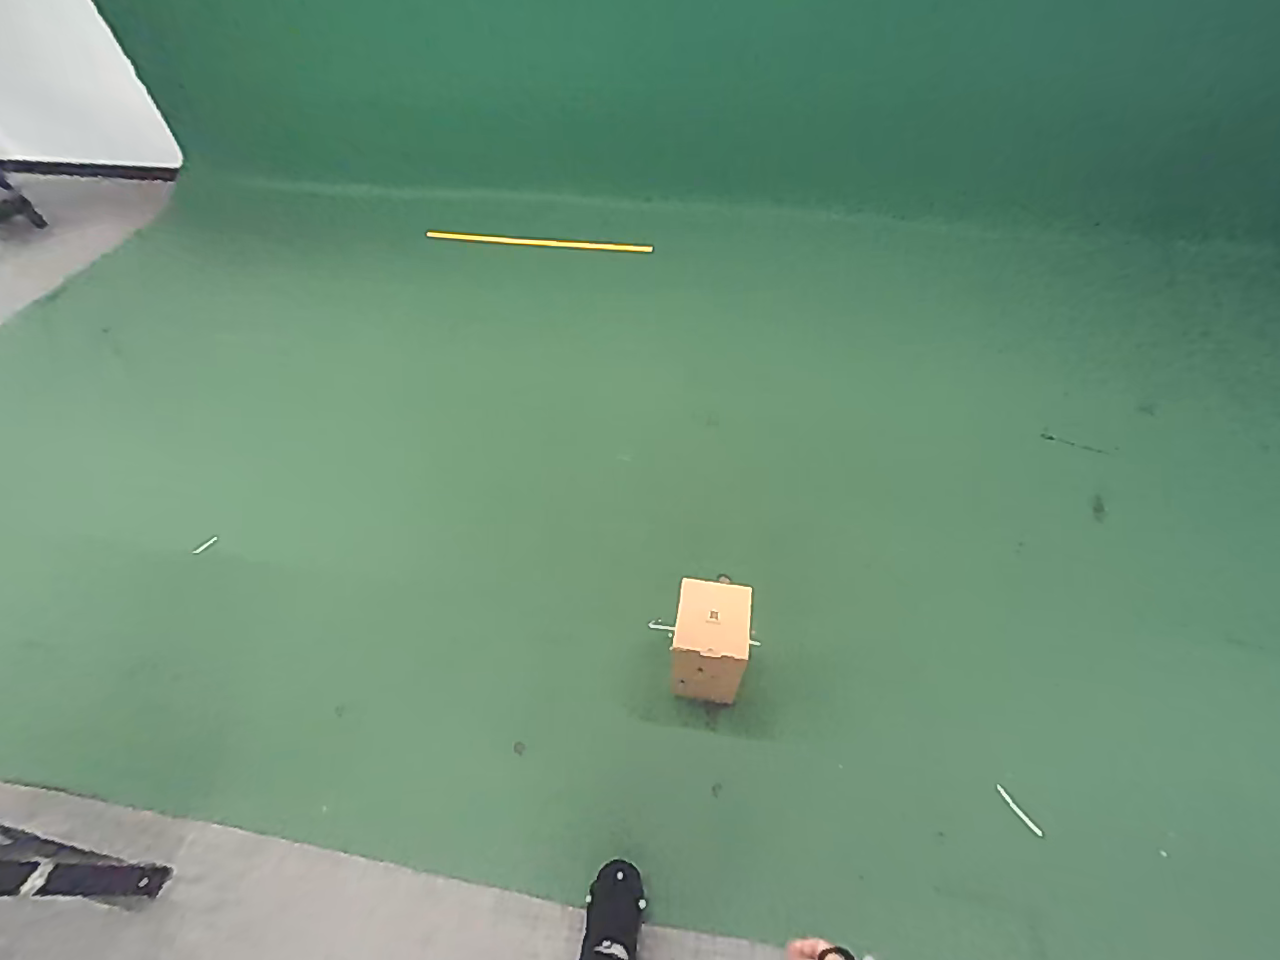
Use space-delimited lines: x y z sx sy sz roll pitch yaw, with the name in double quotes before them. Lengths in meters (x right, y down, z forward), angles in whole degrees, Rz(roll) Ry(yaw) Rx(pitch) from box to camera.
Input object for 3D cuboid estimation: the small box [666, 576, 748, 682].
"small box" 0.155 0.354 1.279 0.168 0.176 0.179 8 52 6
